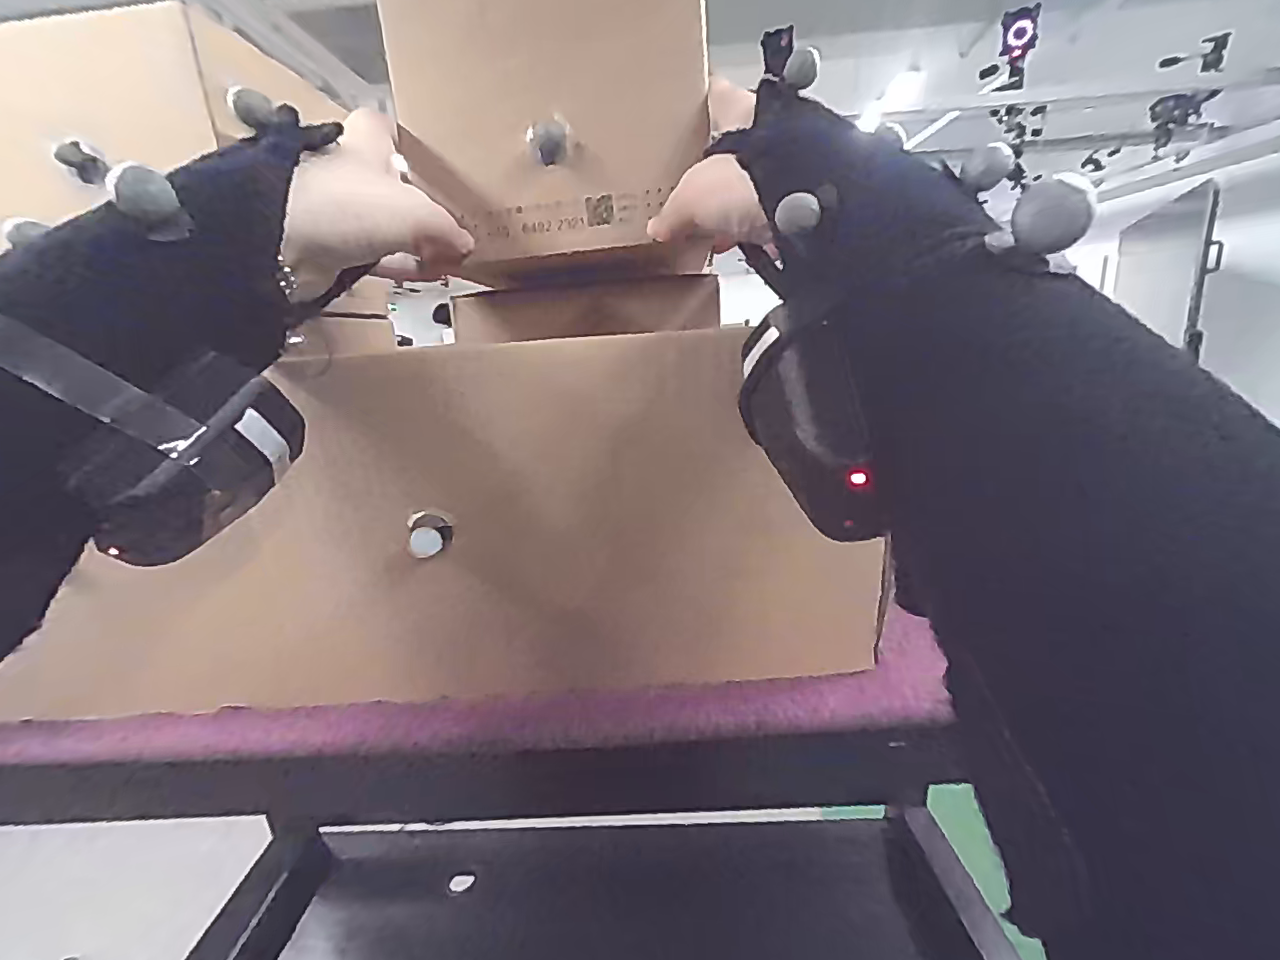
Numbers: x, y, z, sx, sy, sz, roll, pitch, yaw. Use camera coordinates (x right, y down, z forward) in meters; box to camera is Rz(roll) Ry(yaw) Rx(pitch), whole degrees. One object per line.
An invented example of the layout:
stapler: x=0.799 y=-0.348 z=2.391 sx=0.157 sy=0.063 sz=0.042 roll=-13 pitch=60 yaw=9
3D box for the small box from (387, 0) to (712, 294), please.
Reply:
small box: x=-0.043 y=-0.222 z=0.359 sx=0.168 sy=0.176 sz=0.179 roll=-5 pitch=15 yaw=5
